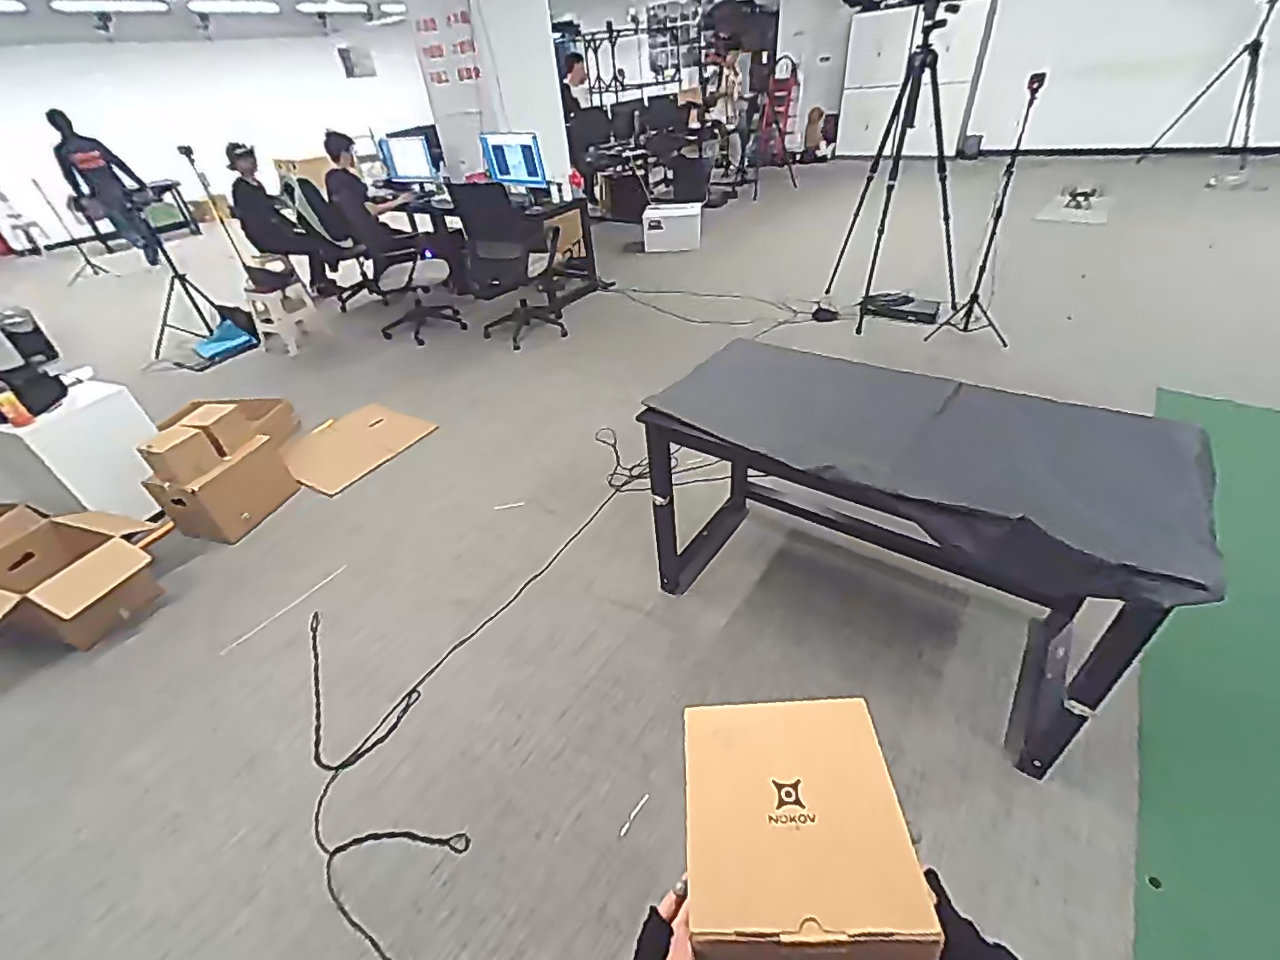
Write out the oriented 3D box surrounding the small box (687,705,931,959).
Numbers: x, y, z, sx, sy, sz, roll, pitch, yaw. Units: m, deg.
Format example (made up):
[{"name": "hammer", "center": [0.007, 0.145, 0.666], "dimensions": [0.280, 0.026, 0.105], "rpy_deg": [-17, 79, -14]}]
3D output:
[{"name": "small box", "center": [0.131, 0.330, 0.483], "dimensions": [0.168, 0.176, 0.179], "rpy_deg": [-6, 34, 7]}]
